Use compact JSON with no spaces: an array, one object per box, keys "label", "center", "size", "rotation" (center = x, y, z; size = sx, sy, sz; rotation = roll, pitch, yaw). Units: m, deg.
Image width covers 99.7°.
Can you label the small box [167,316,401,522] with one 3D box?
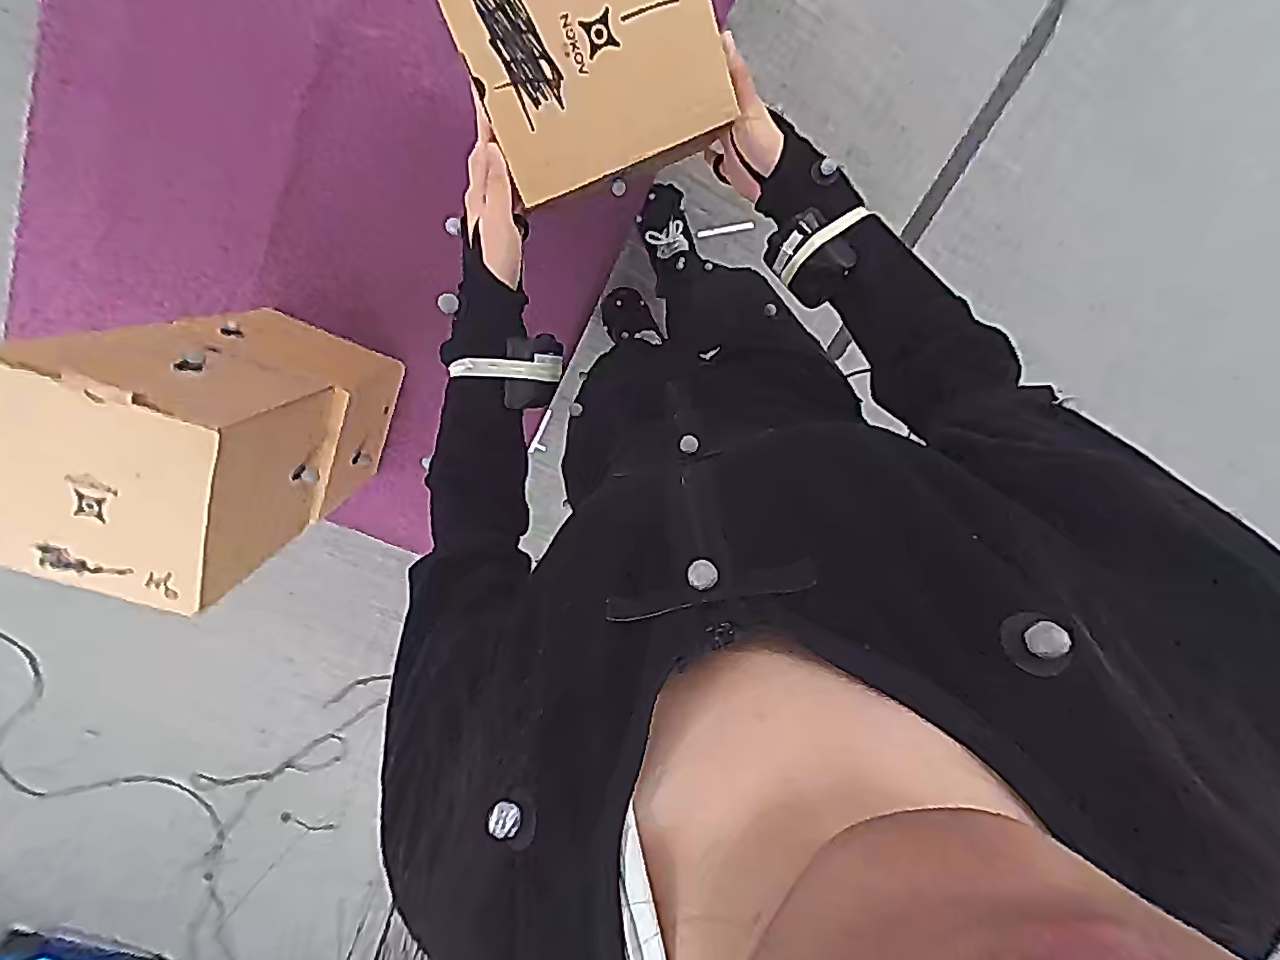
[{"label":"small box","center":[-0.408,-0.081,0.633],"size":[0.179,0.176,0.168],"rotation":[21,109,-10]}]

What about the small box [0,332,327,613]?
[{"label":"small box","center":[-0.410,-0.019,0.481],"size":[0.168,0.176,0.179],"rotation":[20,109,-9]}]

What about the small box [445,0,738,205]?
[{"label":"small box","center":[-0.035,-0.340,0.445],"size":[0.179,0.176,0.168],"rotation":[-18,115,7]}]
